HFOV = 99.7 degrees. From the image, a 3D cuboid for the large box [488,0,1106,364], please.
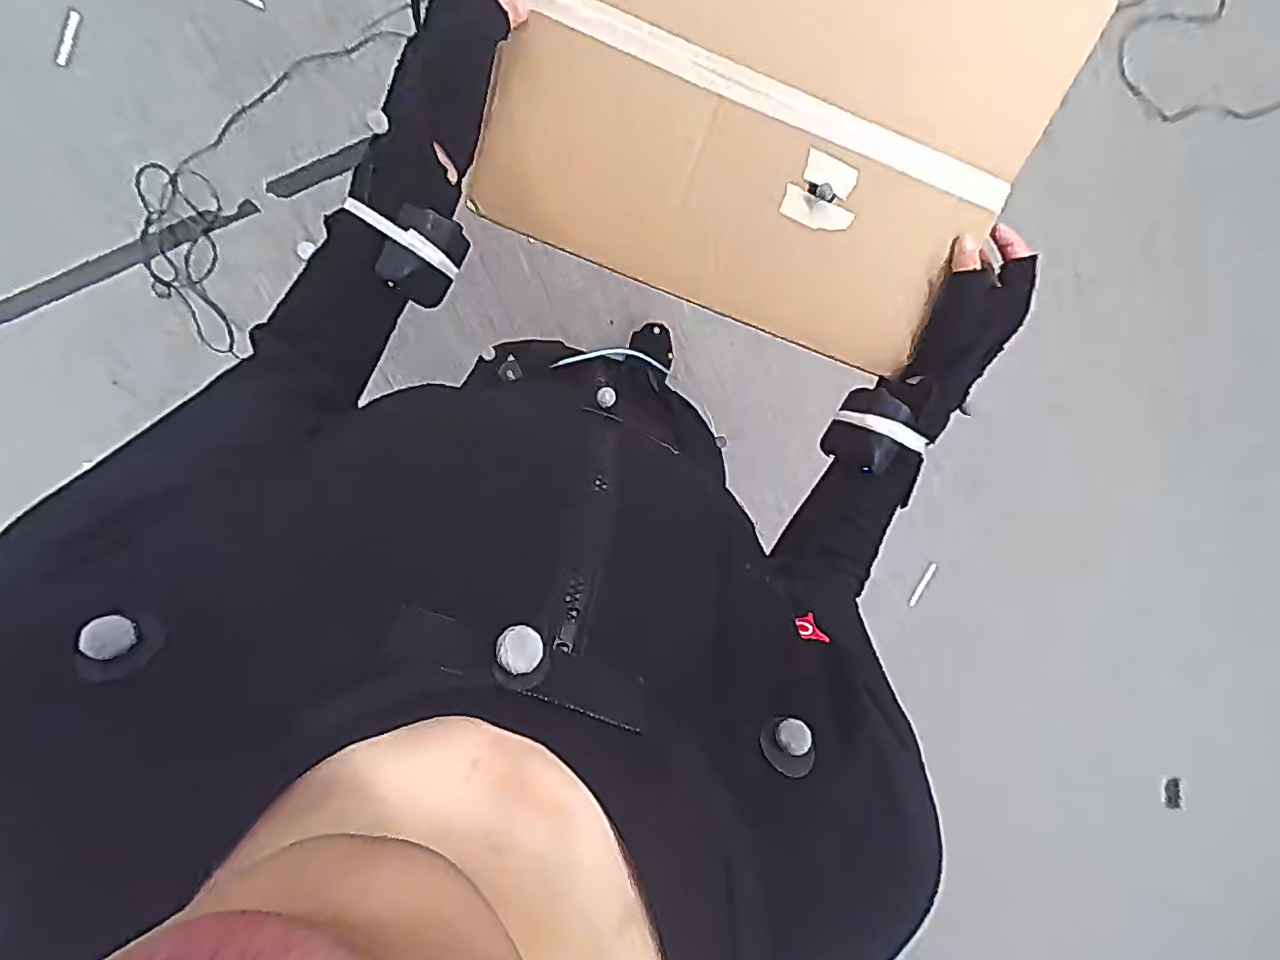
[{"bbox_3d":[0.109,-0.357,0.555,0.408,0.320,0.320,20,114,-7],"label":"large box"}]
